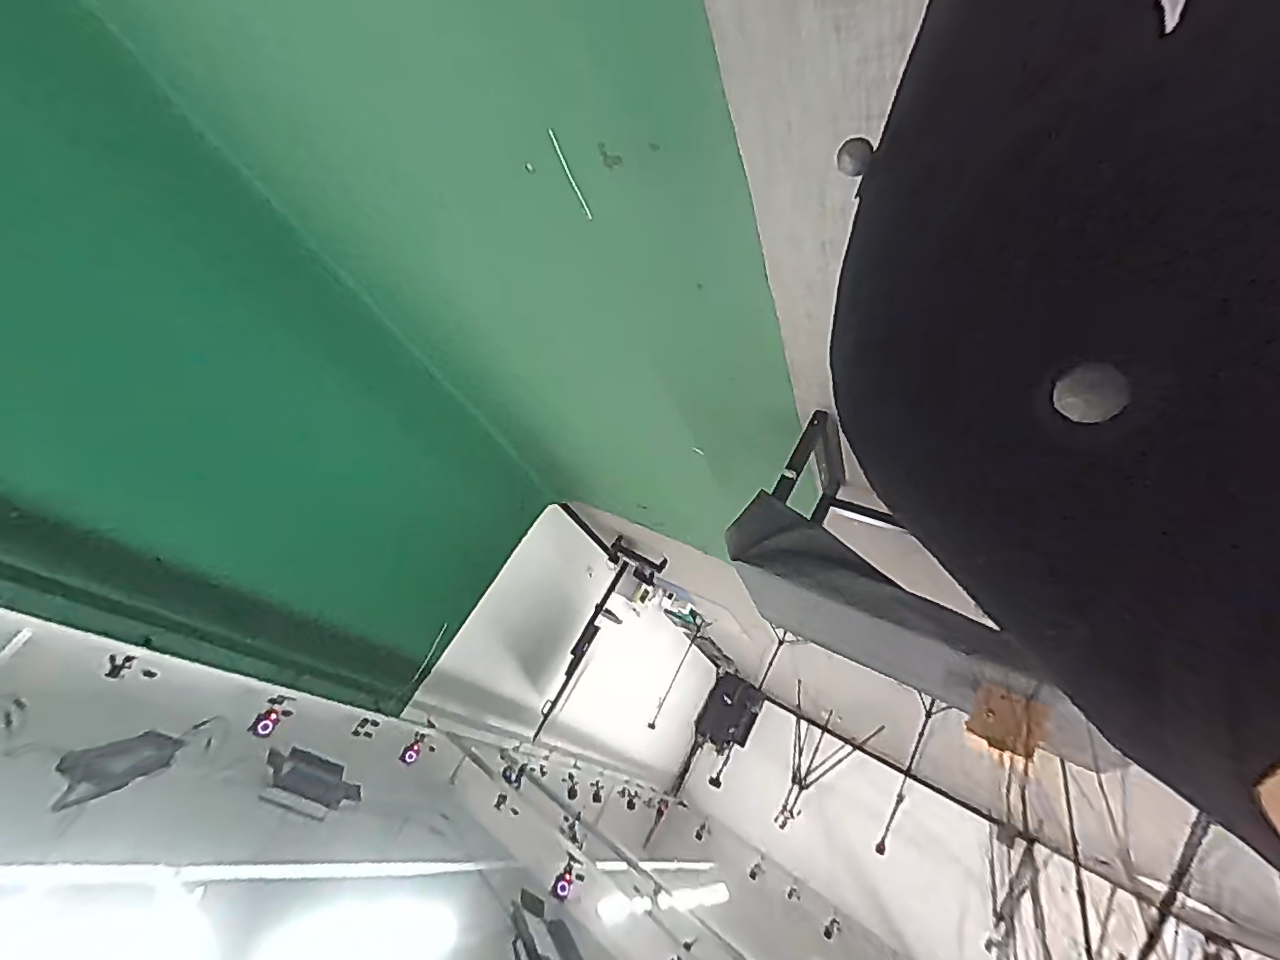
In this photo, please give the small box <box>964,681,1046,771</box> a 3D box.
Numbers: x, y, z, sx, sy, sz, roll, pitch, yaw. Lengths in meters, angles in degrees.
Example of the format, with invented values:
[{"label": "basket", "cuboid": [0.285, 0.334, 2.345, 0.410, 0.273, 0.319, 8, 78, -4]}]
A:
[{"label": "small box", "cuboid": [1.074, 0.719, 1.592, 0.168, 0.176, 0.179, 18, 158, 41]}]
